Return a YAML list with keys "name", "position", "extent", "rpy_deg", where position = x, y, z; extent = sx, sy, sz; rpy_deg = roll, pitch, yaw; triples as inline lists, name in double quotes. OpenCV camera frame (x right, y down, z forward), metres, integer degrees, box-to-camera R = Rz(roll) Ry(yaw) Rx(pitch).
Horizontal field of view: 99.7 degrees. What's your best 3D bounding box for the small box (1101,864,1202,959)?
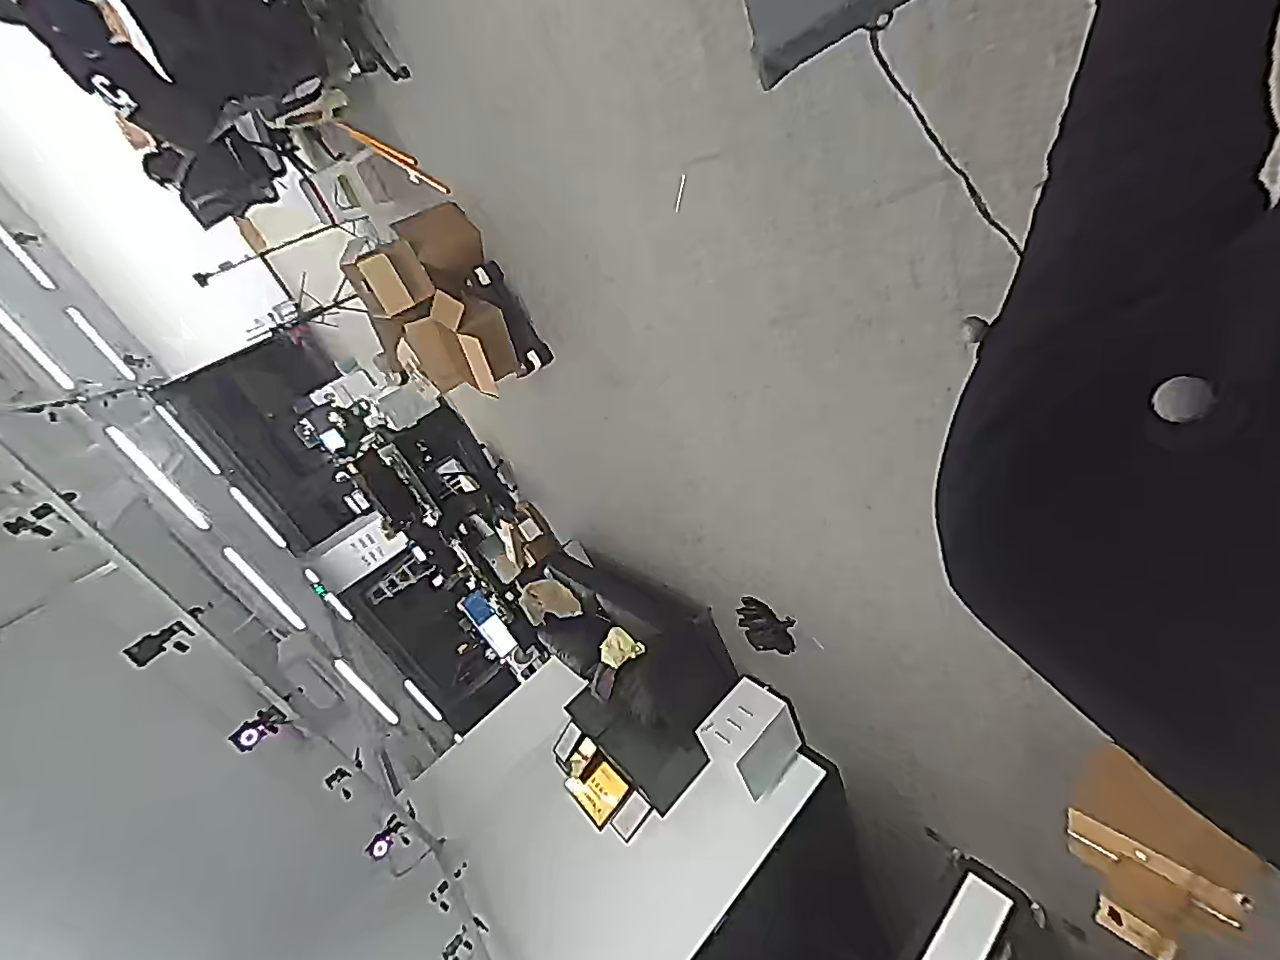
- name: "small box"
  position: [1.557, 1.323, 1.649]
  extent: [0.179, 0.176, 0.168]
  rpy_deg: [22, 139, 48]
